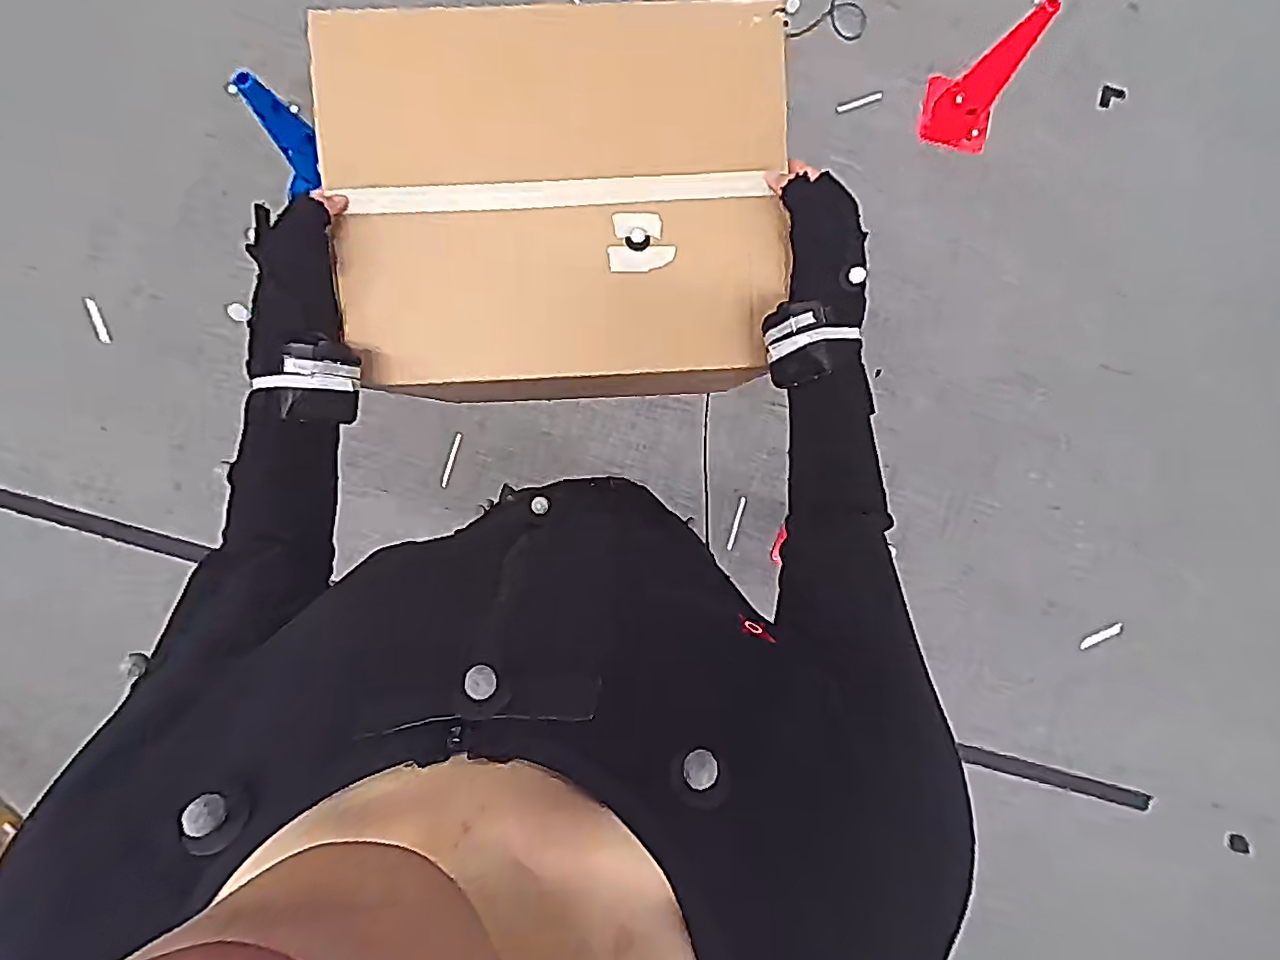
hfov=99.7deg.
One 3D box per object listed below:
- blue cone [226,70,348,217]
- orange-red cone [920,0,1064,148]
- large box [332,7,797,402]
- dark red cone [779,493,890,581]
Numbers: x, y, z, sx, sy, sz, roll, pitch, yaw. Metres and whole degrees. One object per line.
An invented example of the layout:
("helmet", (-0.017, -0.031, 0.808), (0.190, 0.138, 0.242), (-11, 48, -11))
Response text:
("blue cone", (-0.850, -0.838, 1.326), (0.192, 0.380, 0.193), (19, 87, 0))
("orange-red cone", (0.922, -1.076, 1.384), (0.198, 0.360, 0.199), (14, 86, -3))
("large box", (-0.068, -0.266, 0.629), (0.408, 0.320, 0.320), (-3, 95, -2))
("dark red cone", (0.496, 0.150, 1.302), (0.201, 0.394, 0.202), (22, 87, 0))
